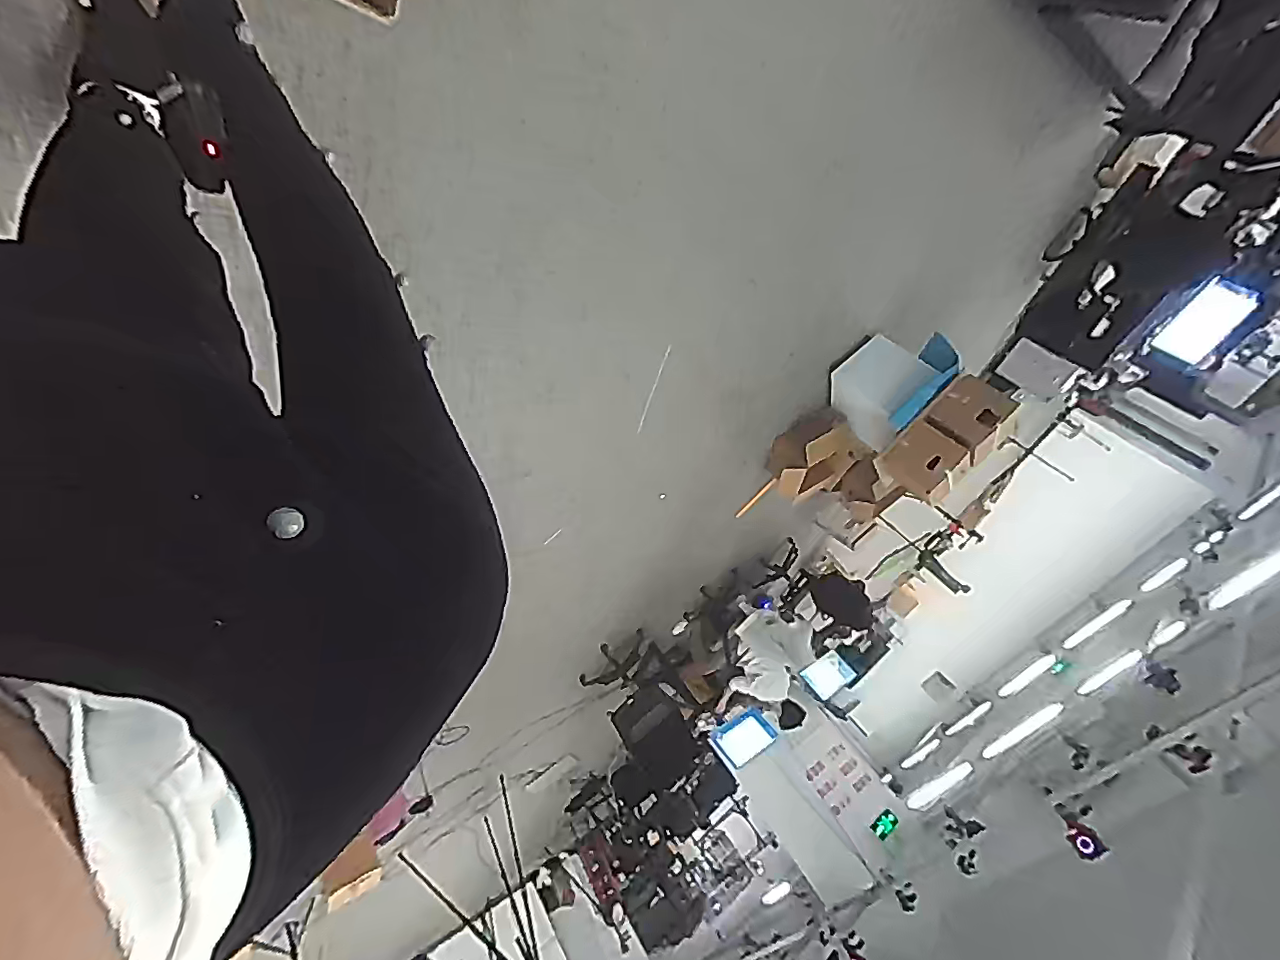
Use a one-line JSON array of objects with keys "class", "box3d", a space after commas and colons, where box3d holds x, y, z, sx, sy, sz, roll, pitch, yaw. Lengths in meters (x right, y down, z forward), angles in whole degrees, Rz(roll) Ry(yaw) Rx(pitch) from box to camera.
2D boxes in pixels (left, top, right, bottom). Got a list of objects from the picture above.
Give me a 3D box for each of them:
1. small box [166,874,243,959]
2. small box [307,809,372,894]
[{"class": "small box", "box3d": [-1.365, 1.389, 1.697, 0.168, 0.176, 0.179, -11, 138, -42]}, {"class": "small box", "box3d": [-1.077, 1.319, 1.931, 0.168, 0.176, 0.179, -12, 139, -40]}]
